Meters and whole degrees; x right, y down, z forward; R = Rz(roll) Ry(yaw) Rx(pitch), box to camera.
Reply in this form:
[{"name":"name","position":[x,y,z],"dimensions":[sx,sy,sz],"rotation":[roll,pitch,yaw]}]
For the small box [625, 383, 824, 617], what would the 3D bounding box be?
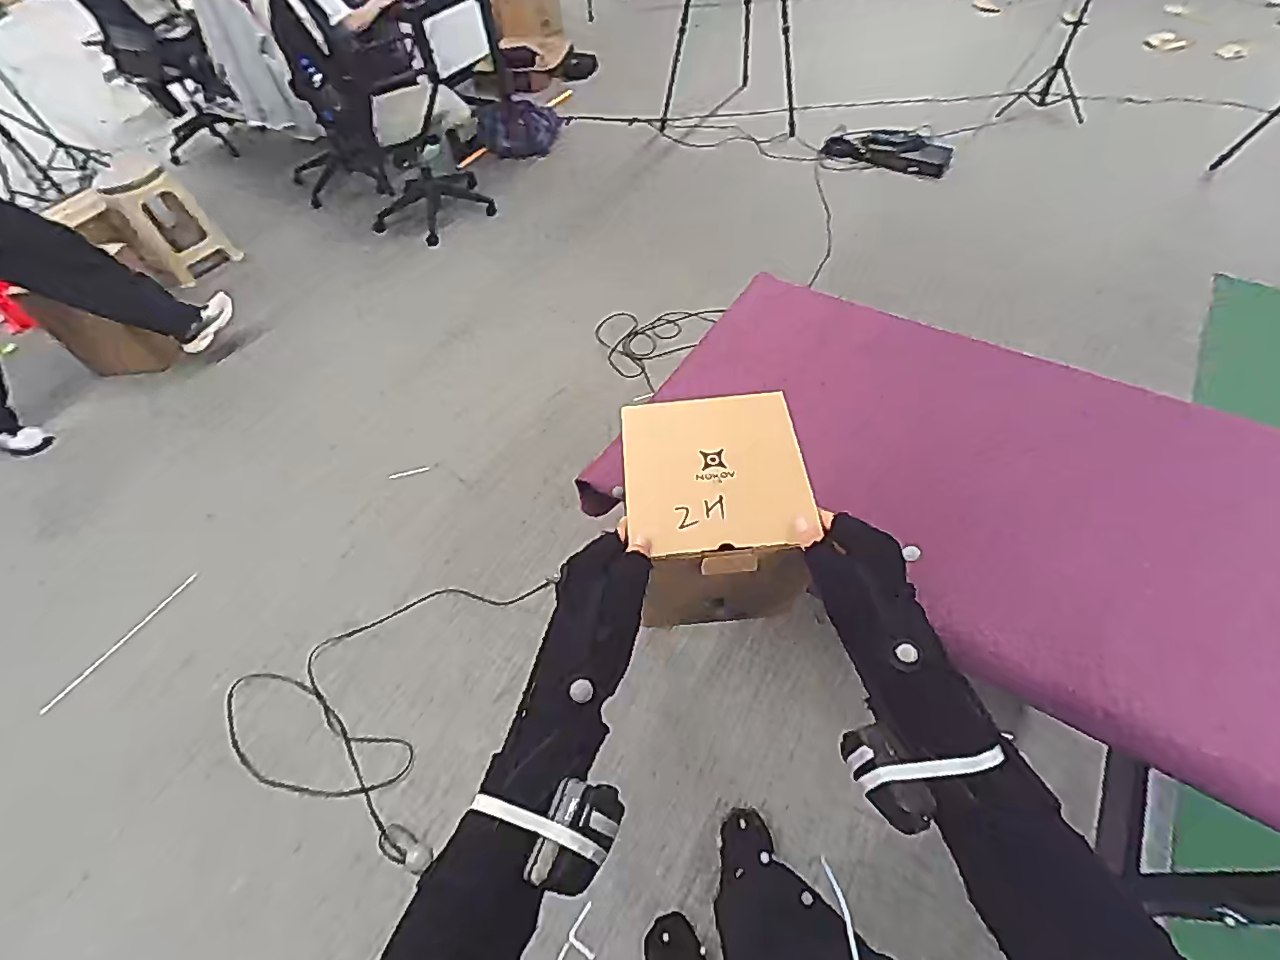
[{"name":"small box","position":[0.076,0.025,0.569],"dimensions":[0.168,0.176,0.179],"rotation":[-7,54,3]}]
